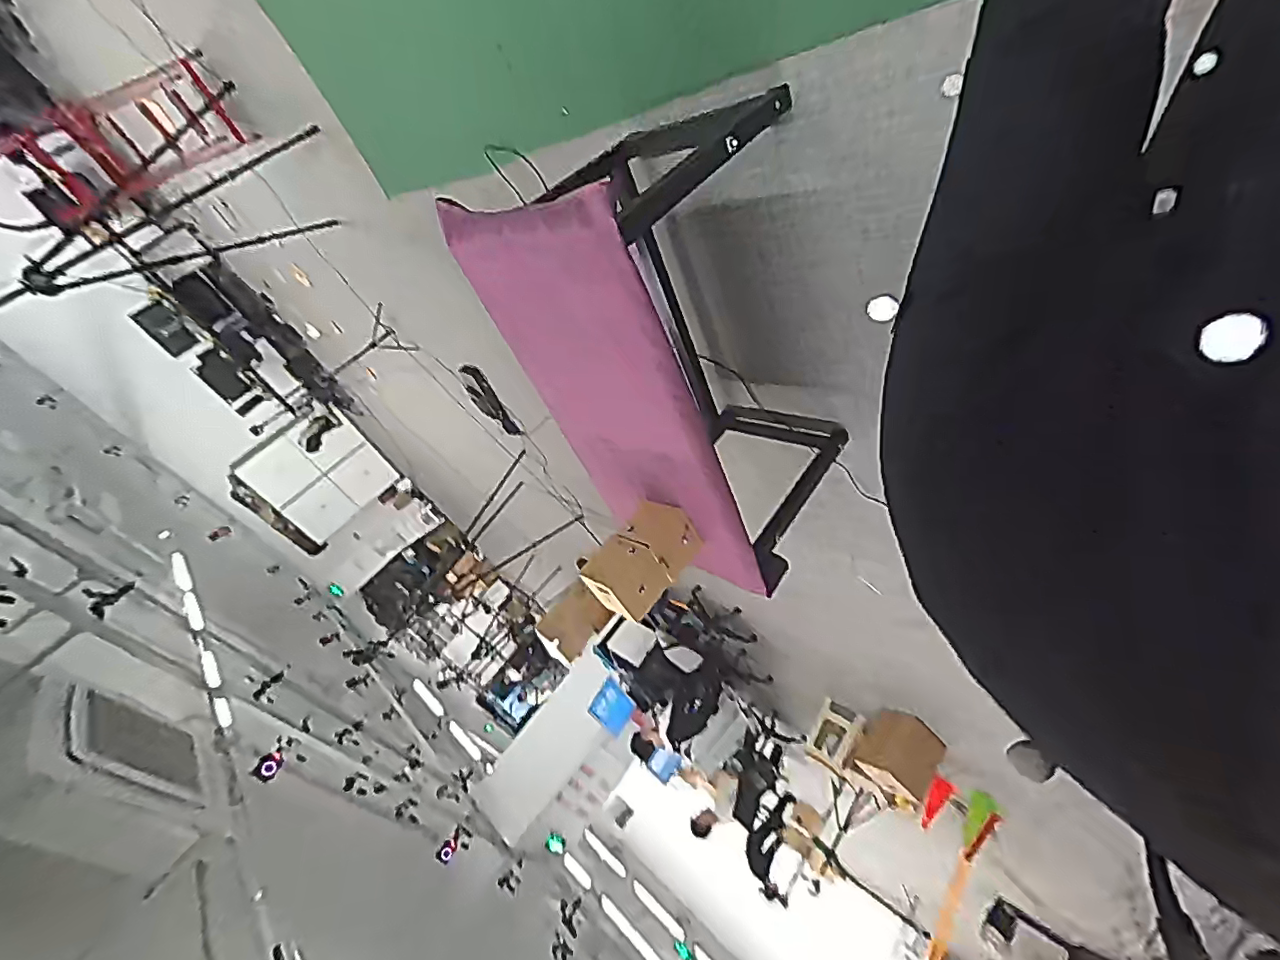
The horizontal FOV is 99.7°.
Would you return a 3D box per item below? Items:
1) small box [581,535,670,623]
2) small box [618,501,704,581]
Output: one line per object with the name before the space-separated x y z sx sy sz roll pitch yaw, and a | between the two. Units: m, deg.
small box | -0.040 0.294 1.649 0.168 0.176 0.179 18 146 48
small box | 0.069 0.187 1.716 0.179 0.176 0.168 14 144 48
